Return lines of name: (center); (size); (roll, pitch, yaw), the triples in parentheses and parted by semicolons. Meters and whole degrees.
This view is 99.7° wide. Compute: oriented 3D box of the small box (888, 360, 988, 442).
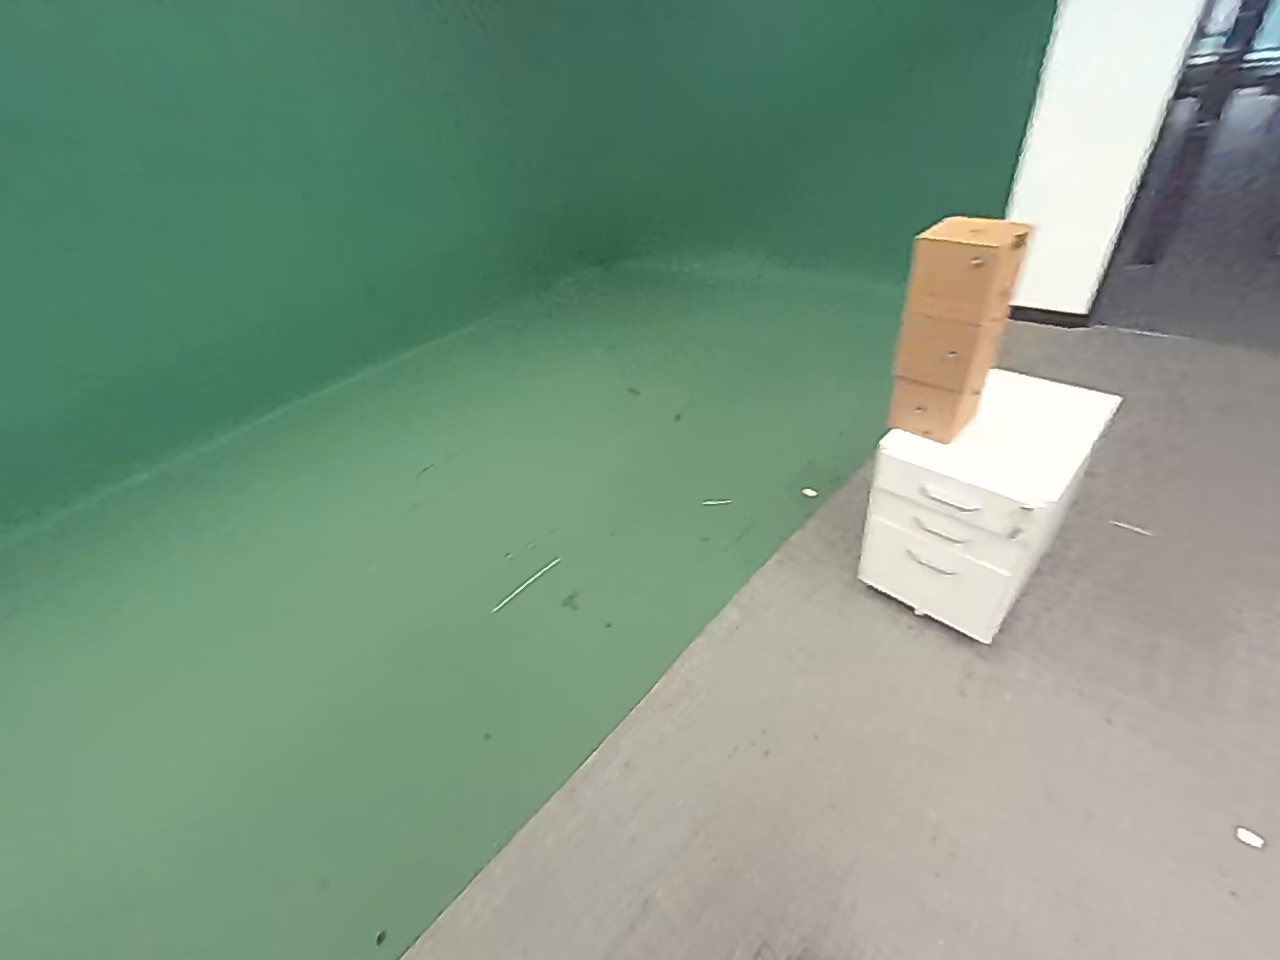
small box: (0.770, -0.224, 1.413); (0.179, 0.176, 0.168); (-36, 47, -28)

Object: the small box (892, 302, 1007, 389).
small box: (0.737, -0.339, 1.303); (0.179, 0.176, 0.168); (28, 52, 37)

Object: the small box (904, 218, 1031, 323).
small box: (0.717, -0.466, 1.203); (0.168, 0.176, 0.179); (-35, 46, -28)
